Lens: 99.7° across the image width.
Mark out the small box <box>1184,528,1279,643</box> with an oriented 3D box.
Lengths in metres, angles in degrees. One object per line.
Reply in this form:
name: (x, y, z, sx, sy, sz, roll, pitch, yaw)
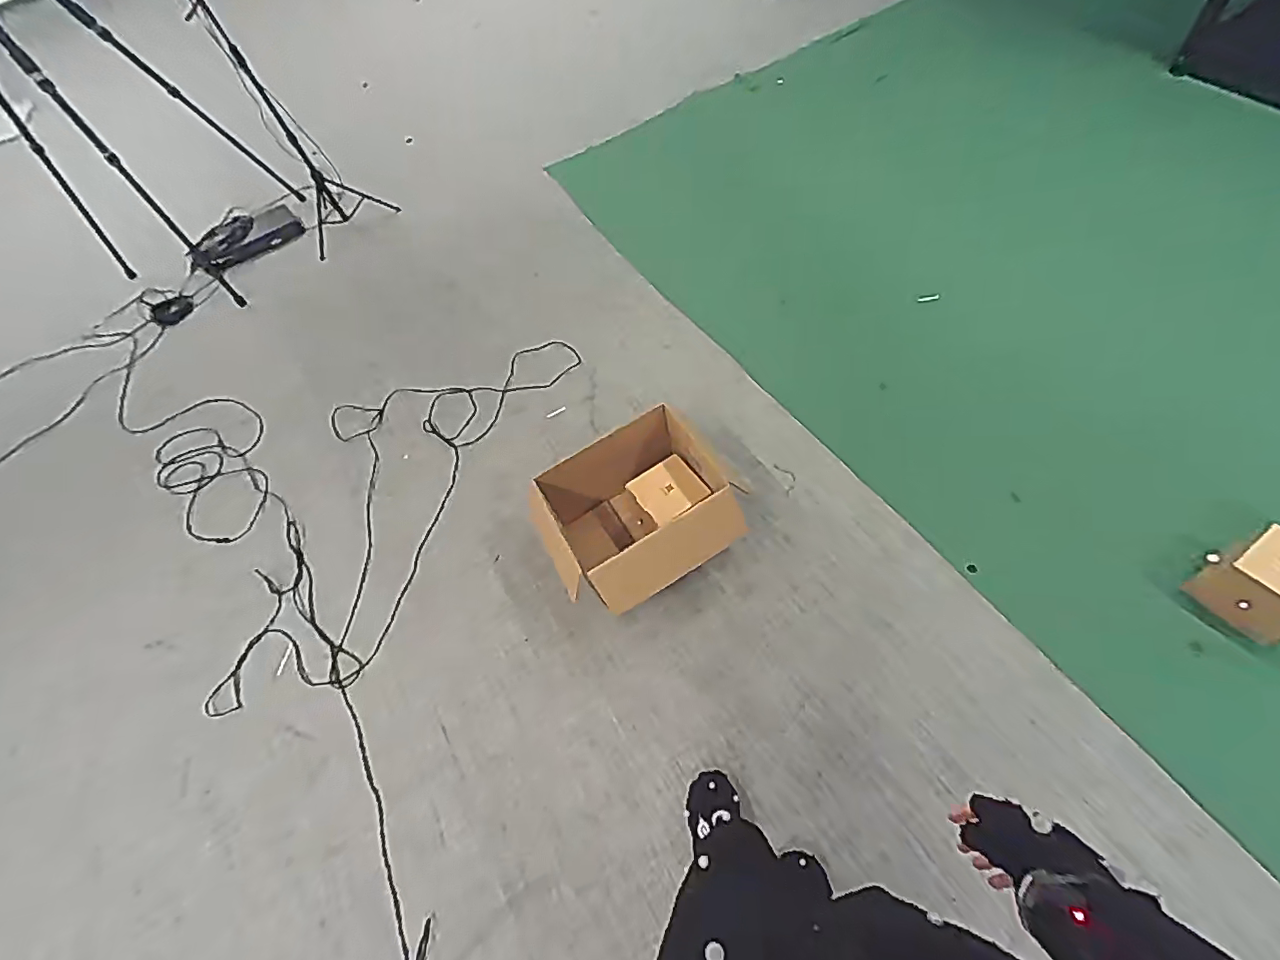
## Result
small box: (1.417, 0.245, 1.219, 0.168, 0.176, 0.179, -34, 59, -11)
